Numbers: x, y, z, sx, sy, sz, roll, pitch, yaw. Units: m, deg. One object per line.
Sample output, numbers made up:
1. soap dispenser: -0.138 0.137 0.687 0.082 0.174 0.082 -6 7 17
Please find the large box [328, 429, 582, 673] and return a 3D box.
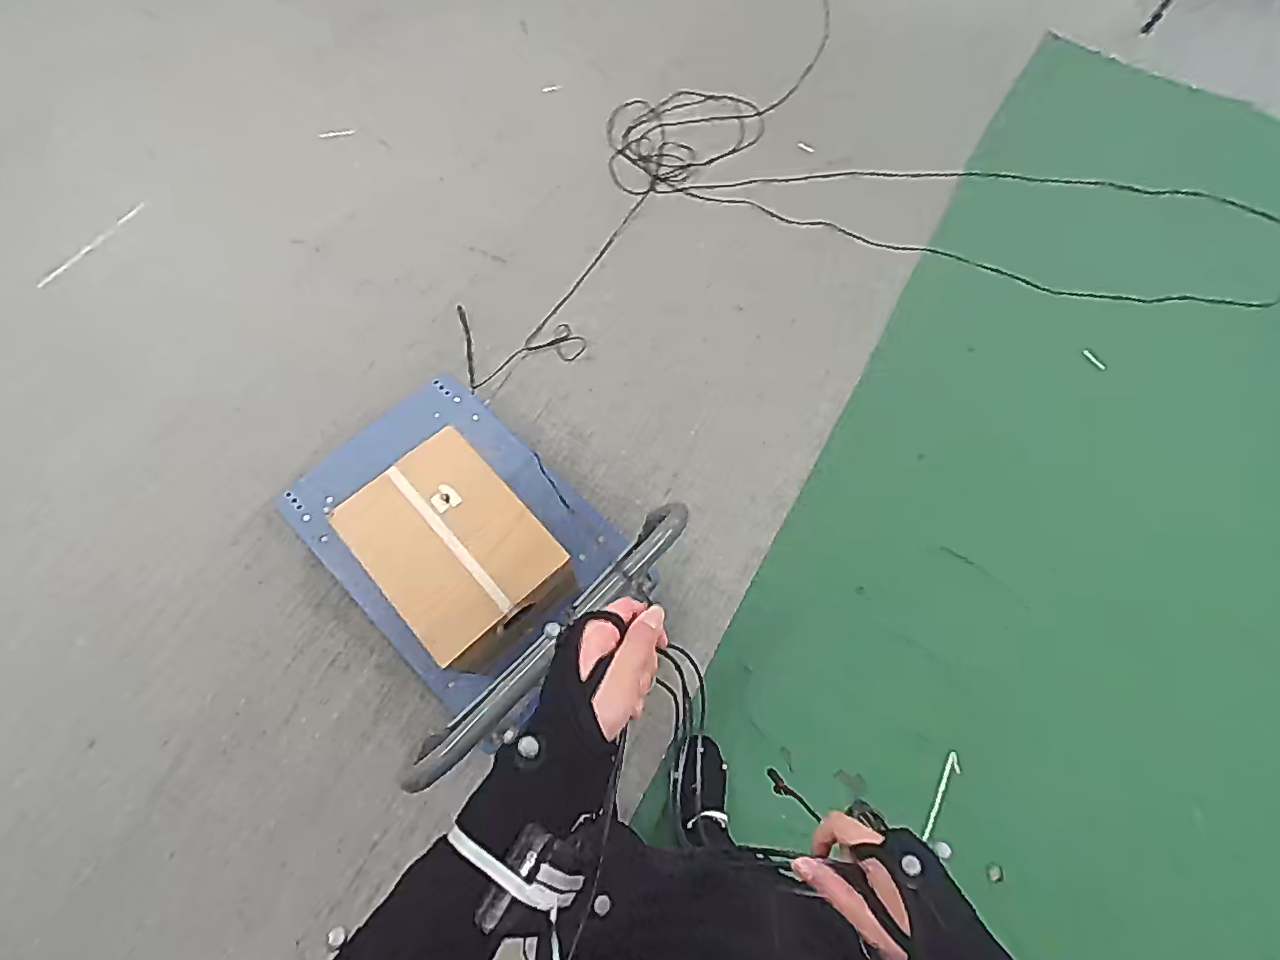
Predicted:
1. large box: -0.381 0.172 1.207 0.320 0.320 0.408 -41 75 -16
